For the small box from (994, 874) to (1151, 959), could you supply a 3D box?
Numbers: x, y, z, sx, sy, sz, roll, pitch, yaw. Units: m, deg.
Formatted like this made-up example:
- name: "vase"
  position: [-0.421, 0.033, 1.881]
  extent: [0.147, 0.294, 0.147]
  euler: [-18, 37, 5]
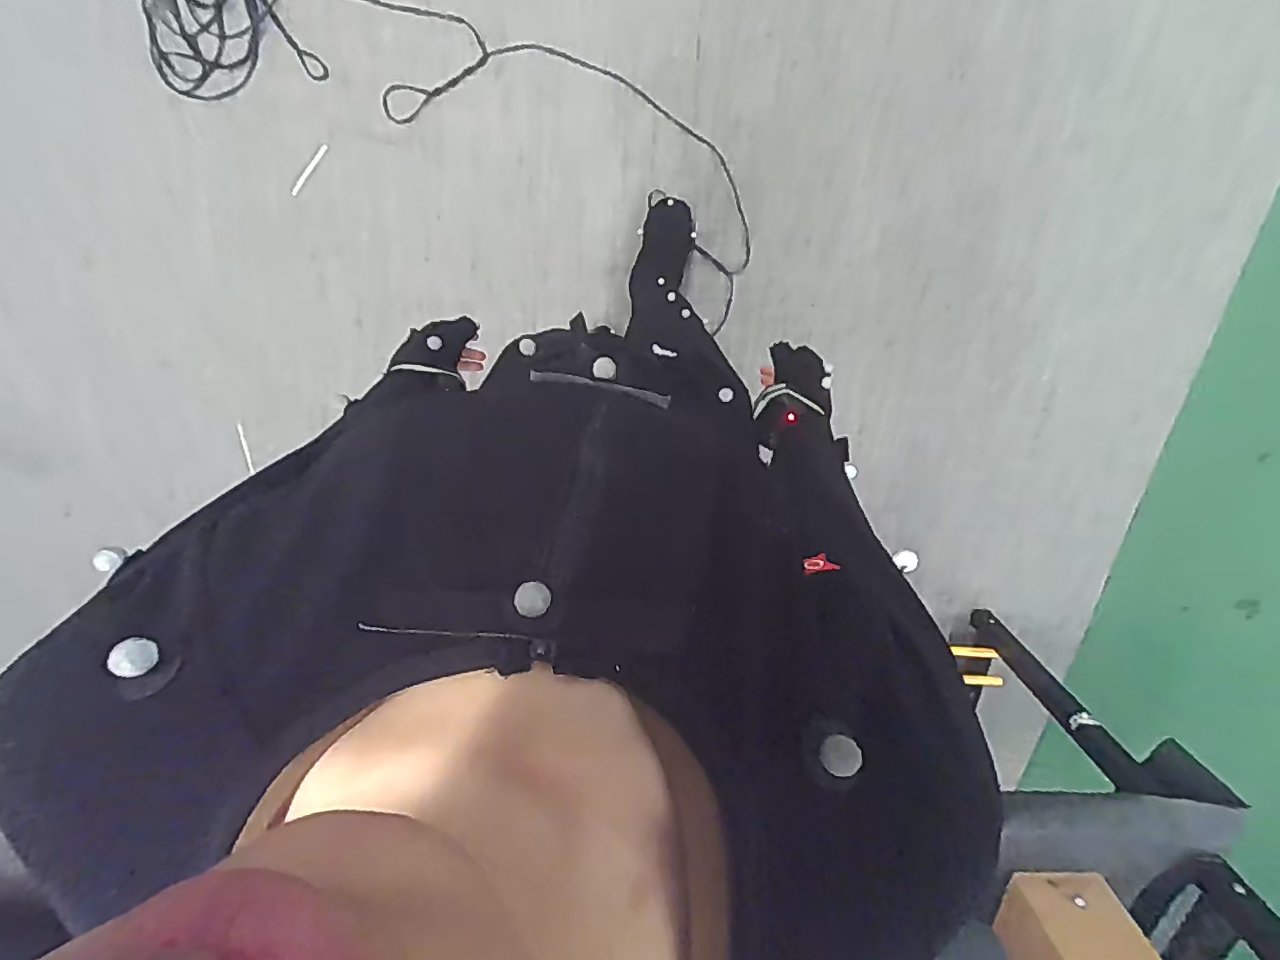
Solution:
- name: "small box"
  position: [0.785, 0.860, 0.983]
  extent: [0.168, 0.176, 0.179]
  euler: [0, 112, 0]
